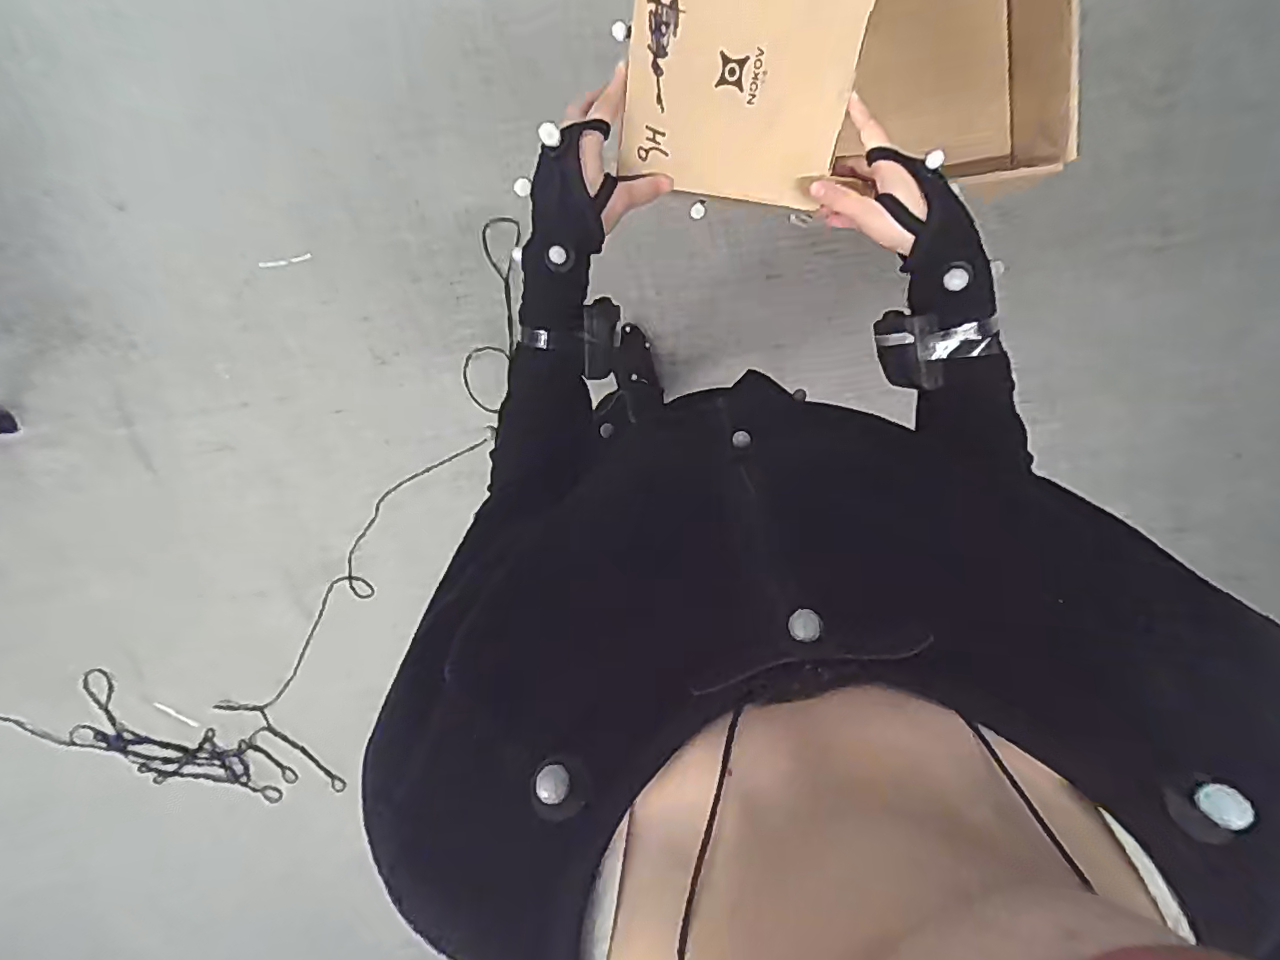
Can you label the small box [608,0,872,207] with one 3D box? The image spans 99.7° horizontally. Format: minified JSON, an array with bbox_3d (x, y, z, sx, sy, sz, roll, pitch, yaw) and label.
[{"bbox_3d":[0.069,-0.344,0.475,0.179,0.176,0.168,6,114,-7],"label":"small box"}]
